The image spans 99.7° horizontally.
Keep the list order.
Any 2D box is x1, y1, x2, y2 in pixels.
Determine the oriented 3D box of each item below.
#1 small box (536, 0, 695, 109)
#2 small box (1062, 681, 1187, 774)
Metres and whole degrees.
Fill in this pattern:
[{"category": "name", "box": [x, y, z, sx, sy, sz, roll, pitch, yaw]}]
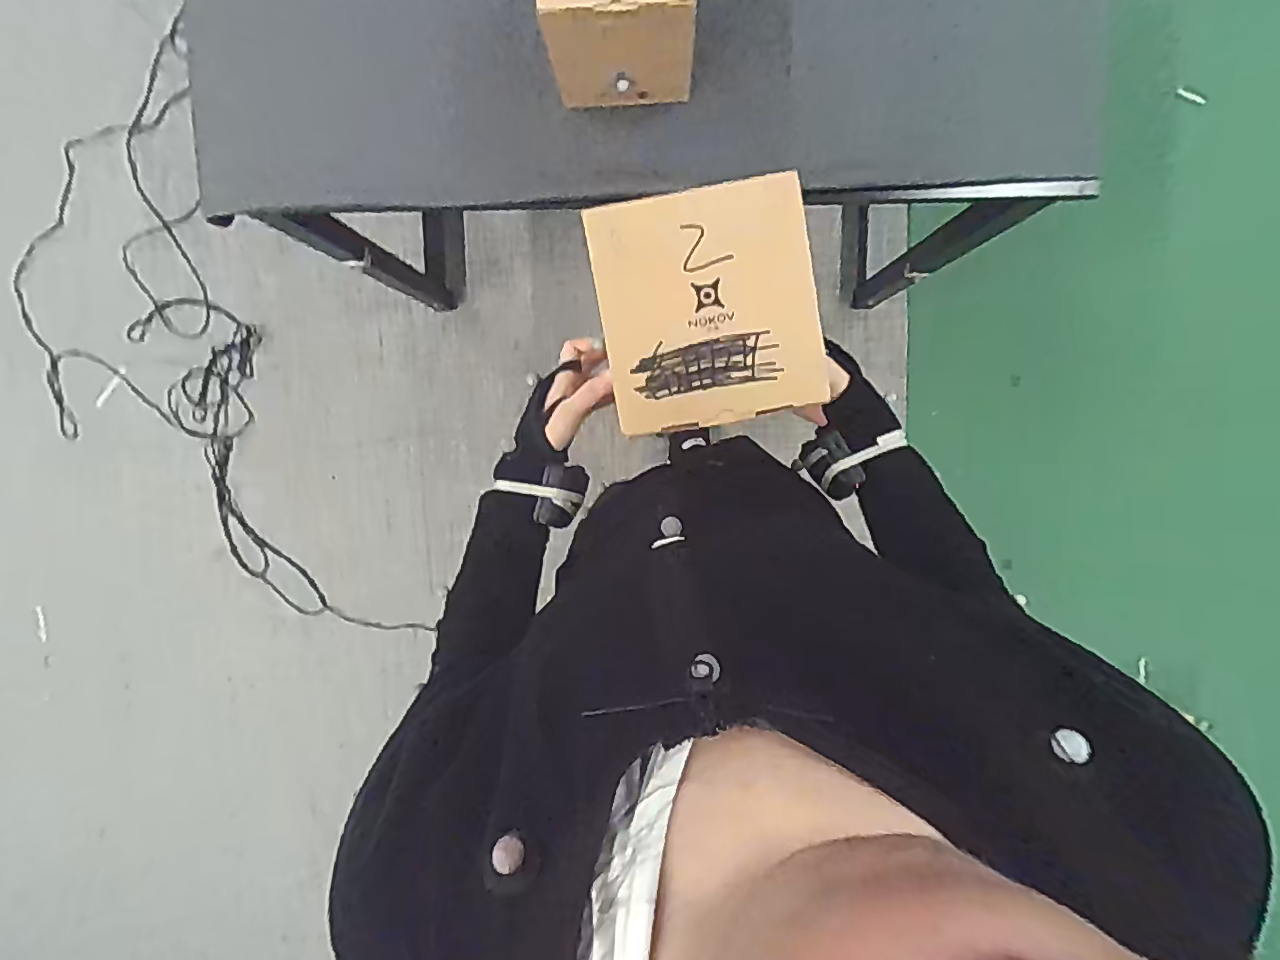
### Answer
[{"category": "small box", "box": [-0.024, -0.572, 0.628, 0.168, 0.176, 0.179, -1, 95, 3]}, {"category": "small box", "box": [1.279, 0.651, 1.437, 0.179, 0.176, 0.168, 1, 96, 2]}]
